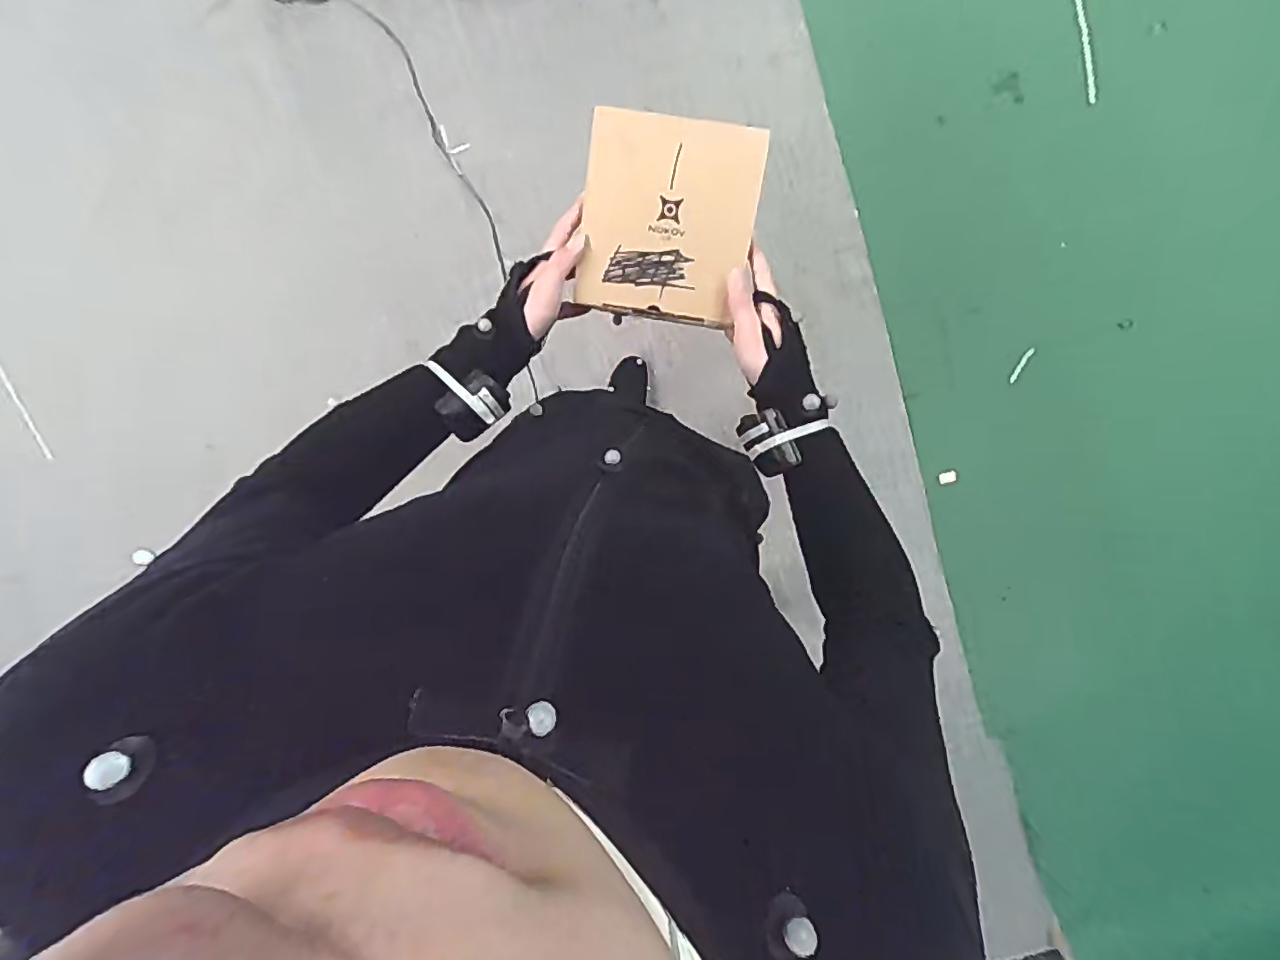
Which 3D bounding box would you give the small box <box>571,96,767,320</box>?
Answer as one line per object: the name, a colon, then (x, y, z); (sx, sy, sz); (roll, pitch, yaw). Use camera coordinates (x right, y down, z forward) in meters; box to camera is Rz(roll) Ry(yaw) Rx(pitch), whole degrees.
small box: (0.029, -0.274, 0.587); (0.168, 0.176, 0.179); (9, 105, 1)
